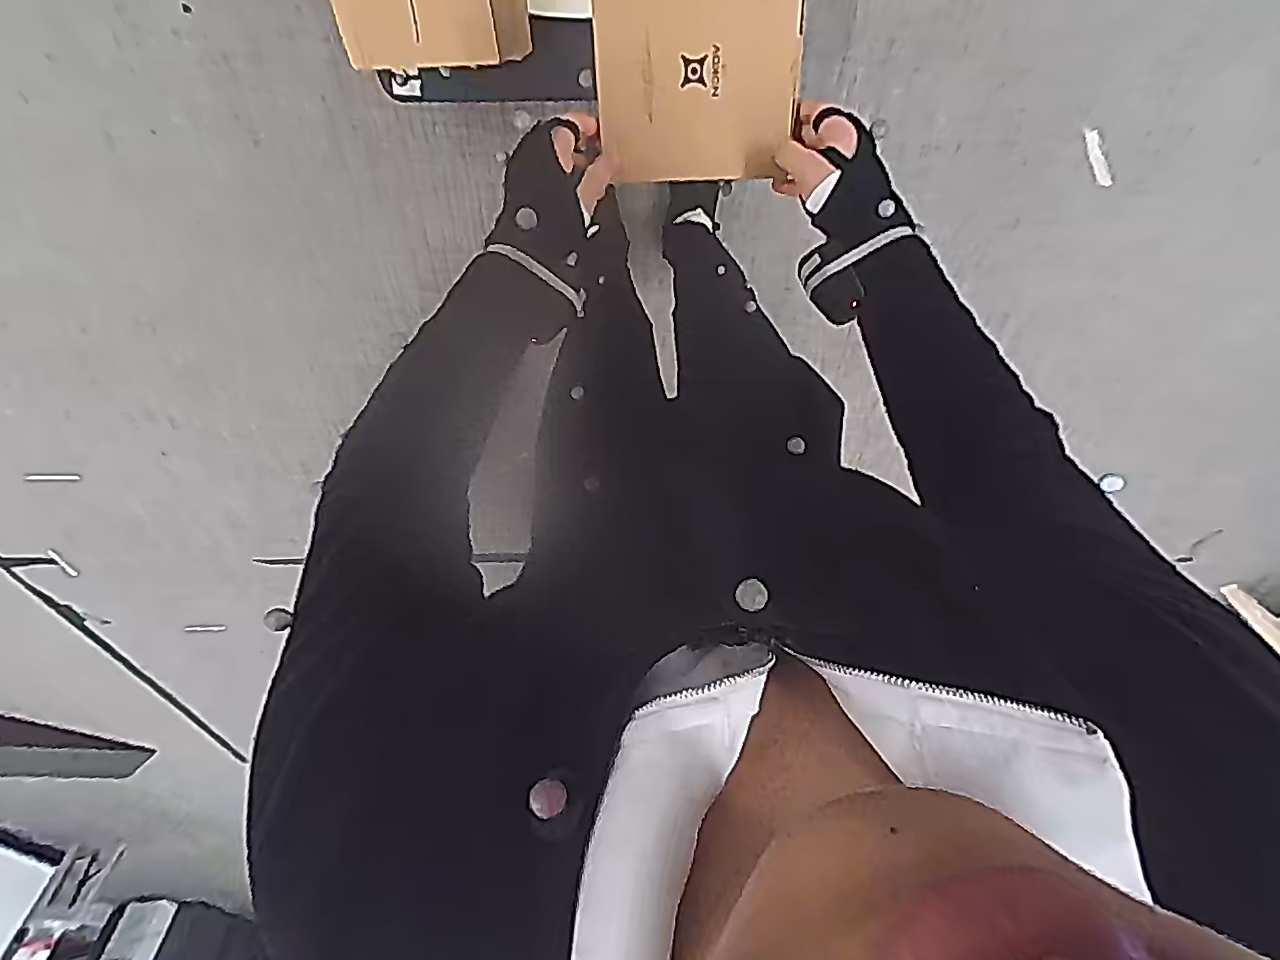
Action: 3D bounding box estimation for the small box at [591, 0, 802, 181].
[{"bbox_3d":[0.045,-0.393,0.529,0.179,0.176,0.168,-3,120,0],"label":"small box"}]

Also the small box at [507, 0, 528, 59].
[{"bbox_3d":[-0.246,-0.676,0.719,0.168,0.176,0.179,-2,132,-2],"label":"small box"}]

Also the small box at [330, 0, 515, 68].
[{"bbox_3d":[-0.240,-0.570,0.593,0.168,0.176,0.179,-3,133,-1],"label":"small box"}]

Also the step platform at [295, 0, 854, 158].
[{"bbox_3d":[-0.081,-0.623,0.731,0.684,0.204,0.286,-2,132,-2],"label":"step platform"}]
